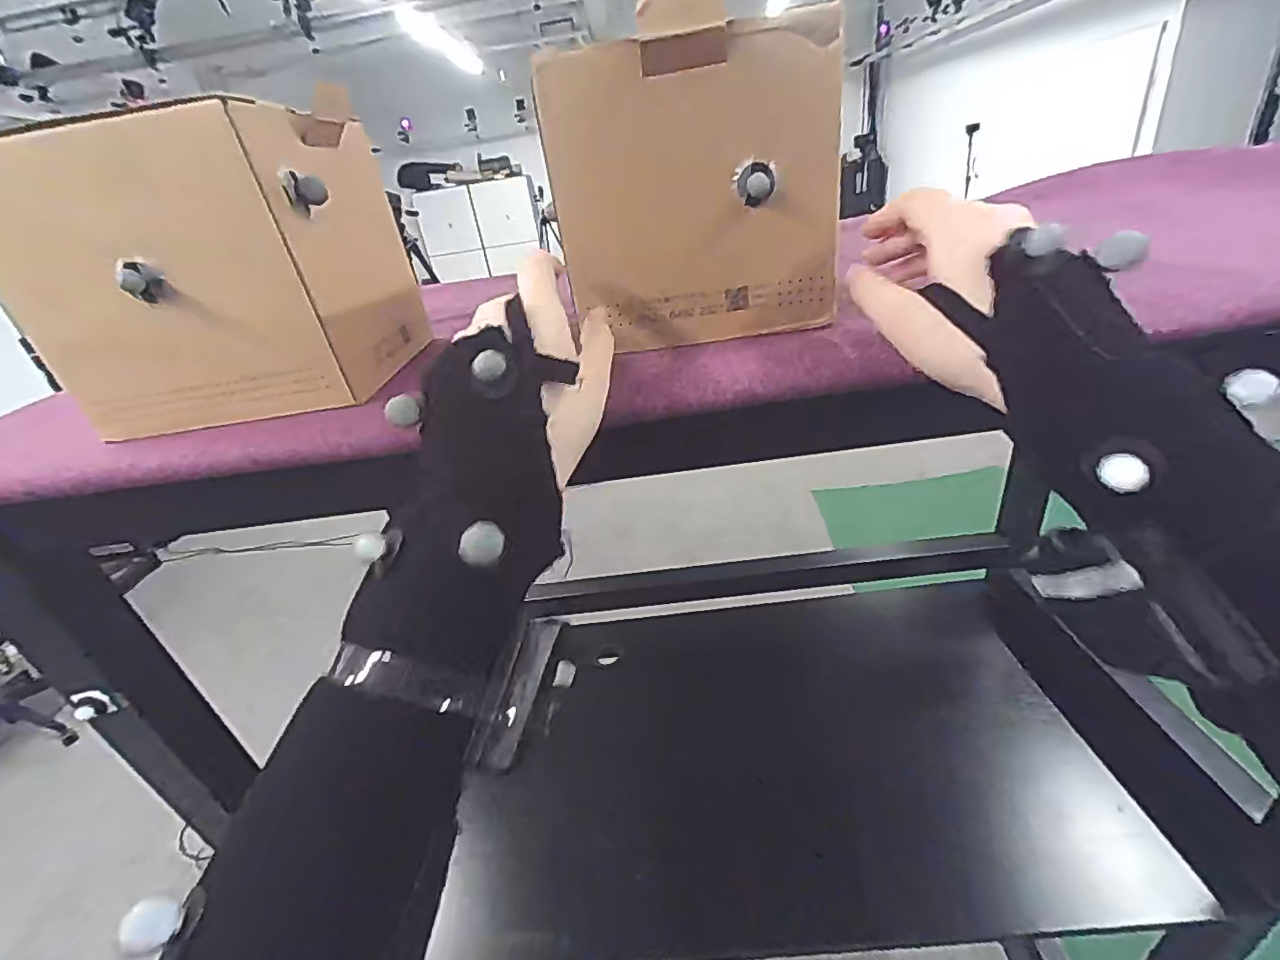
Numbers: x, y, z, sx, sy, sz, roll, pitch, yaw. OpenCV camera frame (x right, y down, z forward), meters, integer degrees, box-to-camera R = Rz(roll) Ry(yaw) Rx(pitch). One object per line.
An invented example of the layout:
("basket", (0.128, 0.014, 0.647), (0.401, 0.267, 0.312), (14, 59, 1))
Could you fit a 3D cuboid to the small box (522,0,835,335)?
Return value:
("small box", (0.033, -0.206, 0.381), (0.168, 0.176, 0.179), (-5, 29, 6))
